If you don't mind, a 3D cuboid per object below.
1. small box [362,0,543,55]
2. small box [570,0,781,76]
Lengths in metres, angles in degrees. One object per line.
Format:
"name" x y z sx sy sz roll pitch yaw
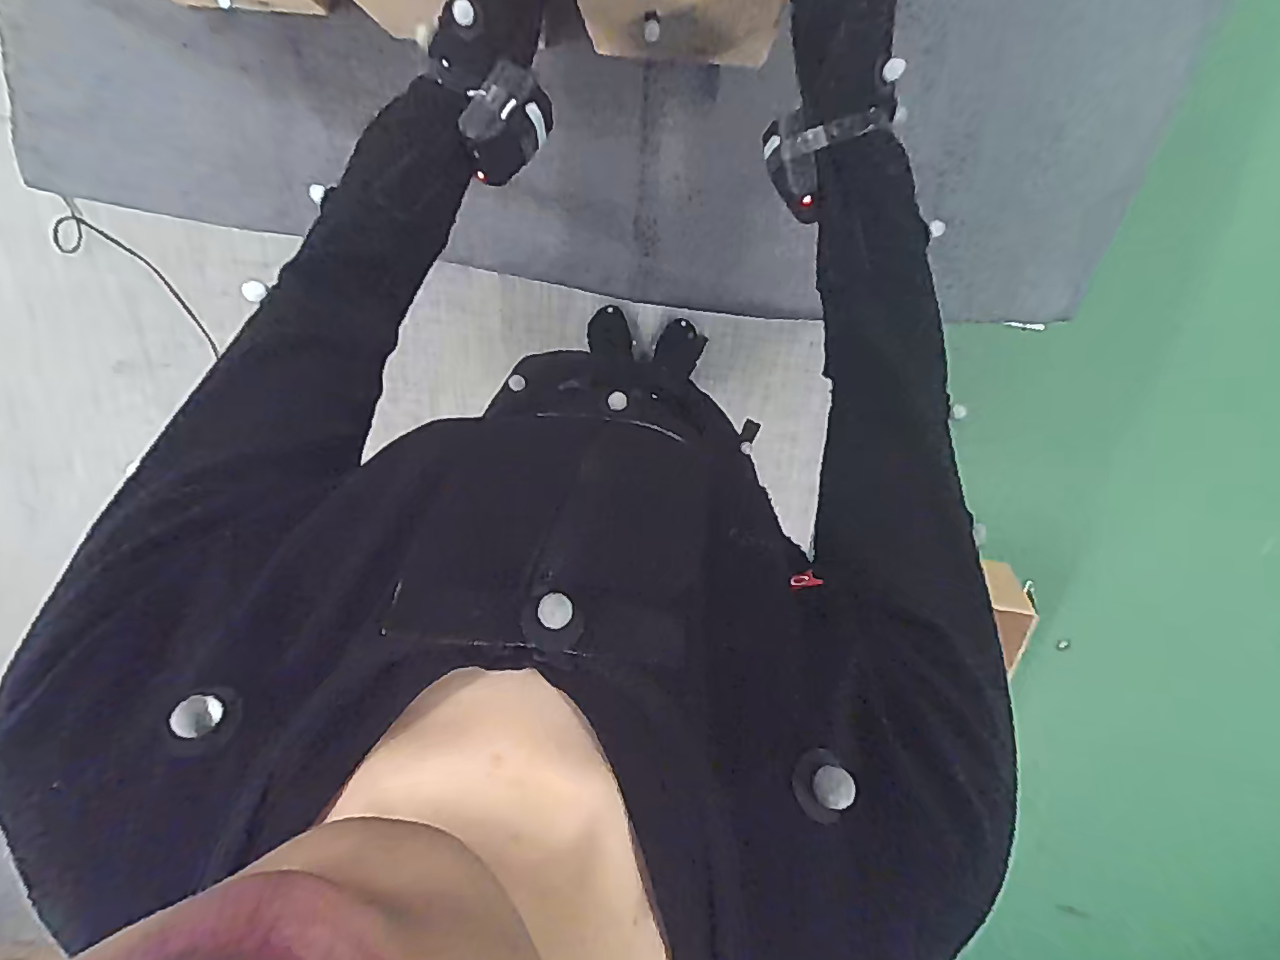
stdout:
"small box" -0.179 -0.513 0.469 0.168 0.176 0.179 5 110 0
"small box" 0.040 -0.462 0.441 0.168 0.176 0.179 6 110 3
